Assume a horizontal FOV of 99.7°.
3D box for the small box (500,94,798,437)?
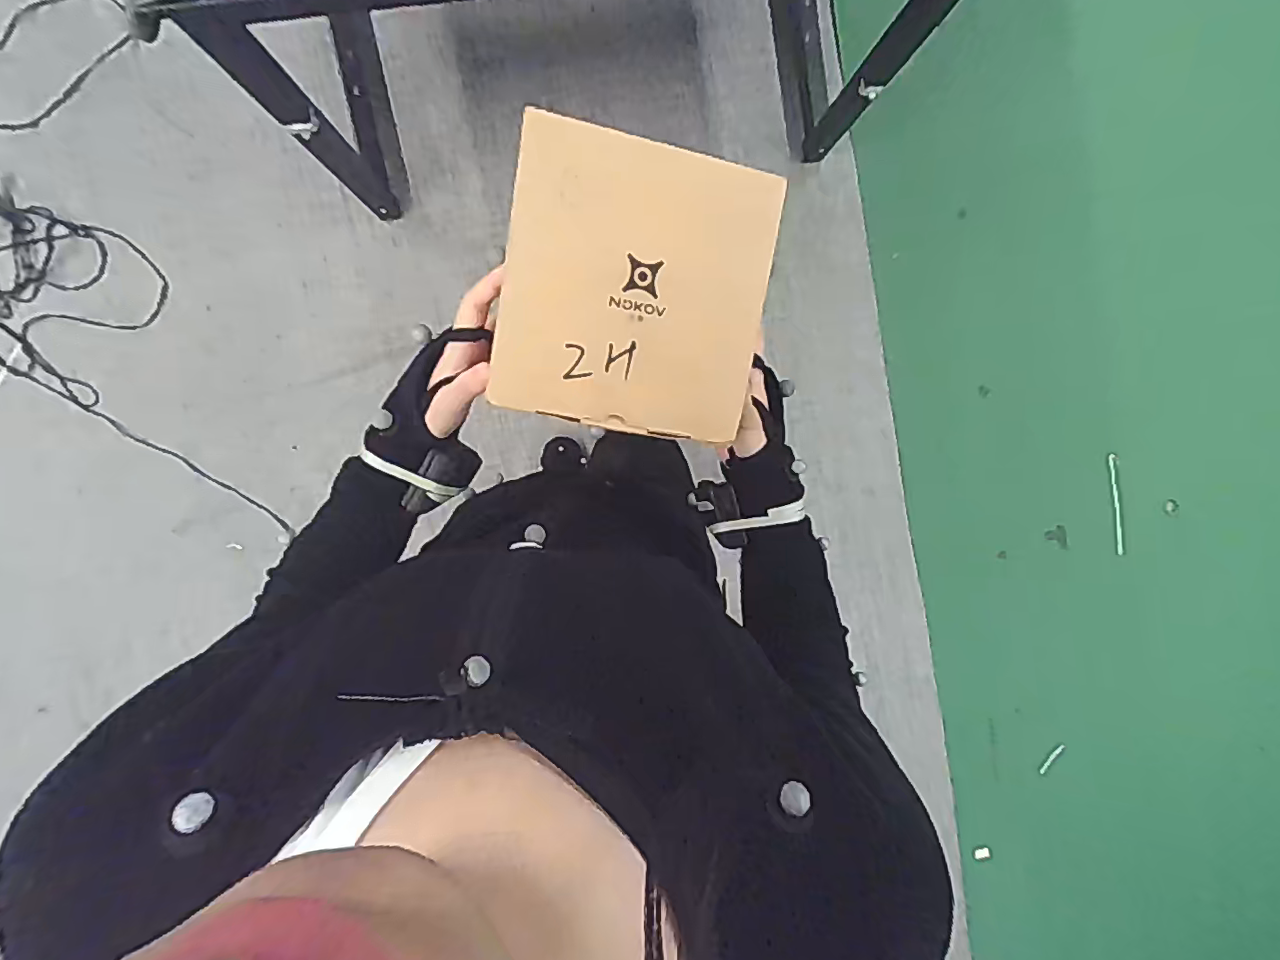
[{"bbox_3d":[-0.006,-0.137,0.412,0.168,0.176,0.179,9,98,-10],"label":"small box"}]
